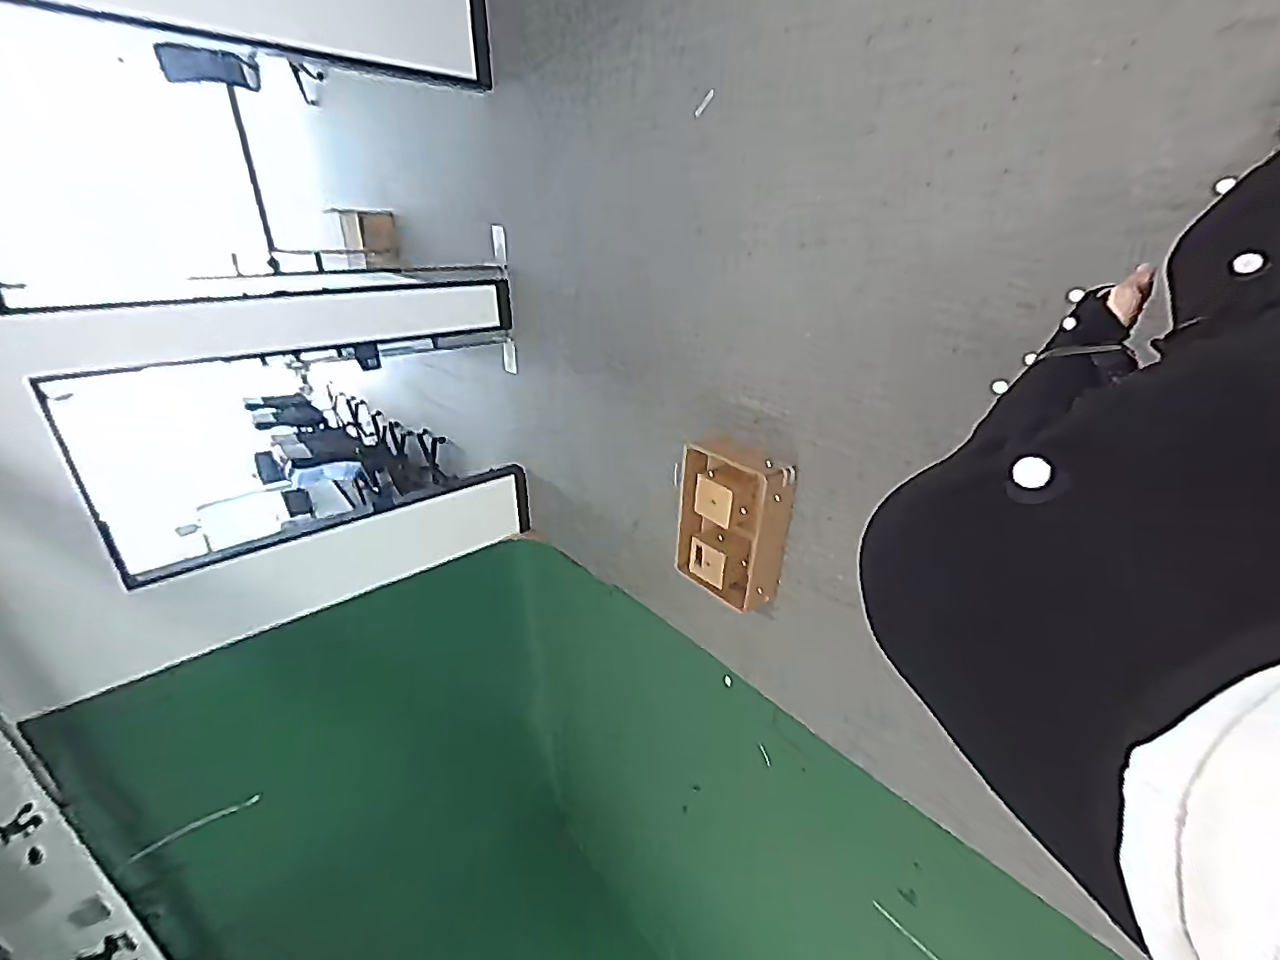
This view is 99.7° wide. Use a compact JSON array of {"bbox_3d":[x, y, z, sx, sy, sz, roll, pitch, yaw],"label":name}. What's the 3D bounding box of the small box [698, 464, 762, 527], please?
[{"bbox_3d":[0.349,0.052,2.100,0.179,0.176,0.168,29,128,41],"label":"small box"}]
